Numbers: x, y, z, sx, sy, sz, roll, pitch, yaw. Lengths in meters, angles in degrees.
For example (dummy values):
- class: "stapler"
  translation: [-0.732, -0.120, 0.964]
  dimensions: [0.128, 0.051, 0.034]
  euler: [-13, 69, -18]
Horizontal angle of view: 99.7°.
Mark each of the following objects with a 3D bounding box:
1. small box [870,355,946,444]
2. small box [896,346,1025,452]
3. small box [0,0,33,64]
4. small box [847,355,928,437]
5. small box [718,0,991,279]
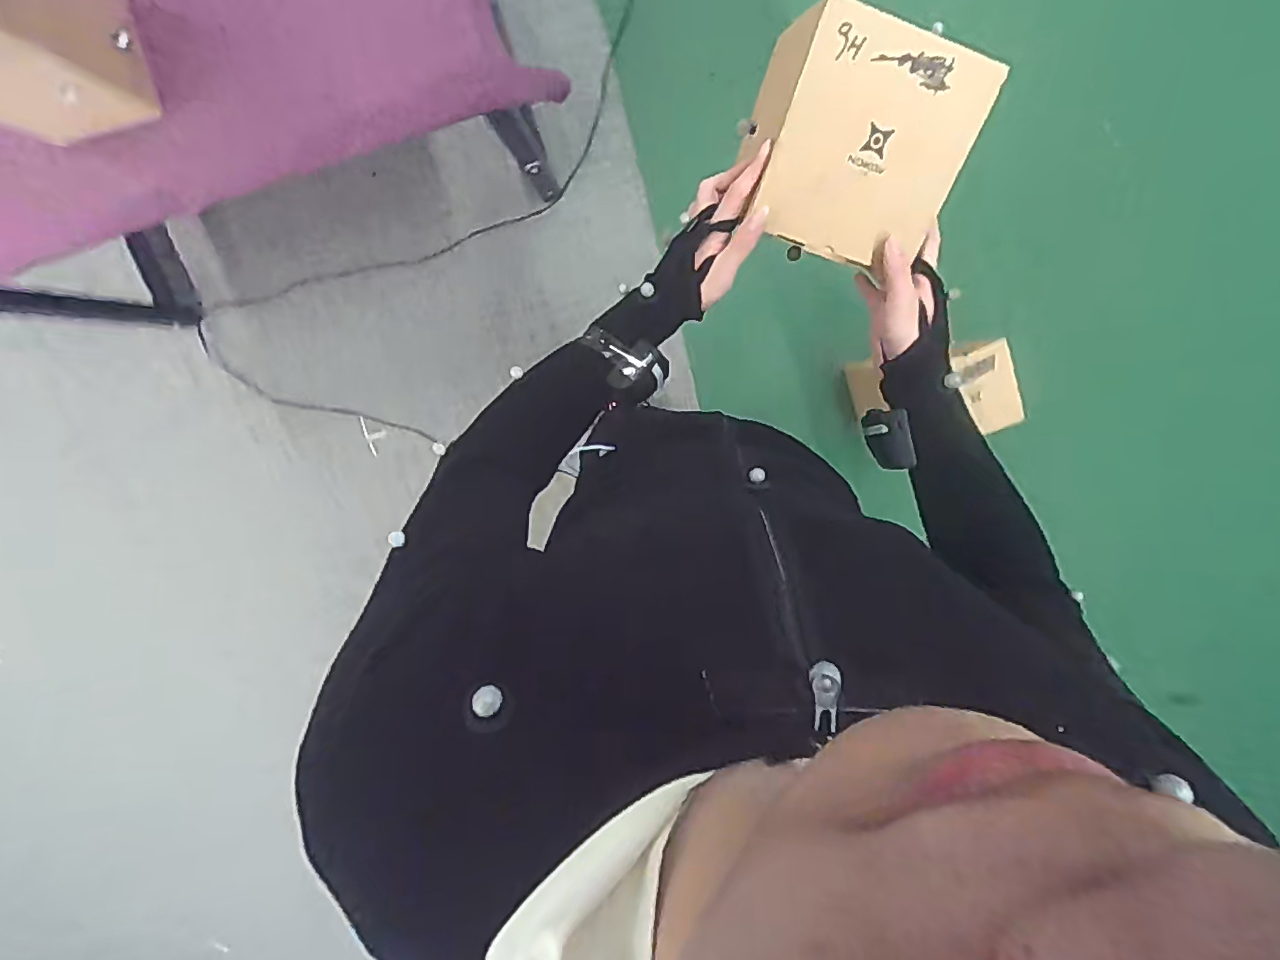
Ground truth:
- class: "small box"
  translation: [0.691, -0.203, 1.331]
  dimensions: [0.168, 0.176, 0.179]
  euler: [-17, 100, 5]
- class: "small box"
  translation: [0.682, -0.176, 1.169]
  dimensions: [0.168, 0.176, 0.179]
  euler: [-19, 101, 6]
- class: "small box"
  translation: [-0.811, -0.563, 0.563]
  dimensions: [0.179, 0.176, 0.168]
  euler: [-11, 100, 3]
- class: "small box"
  translation: [0.695, -0.236, 1.490]
  dimensions: [0.168, 0.176, 0.179]
  euler: [-19, 100, 5]
- class: "small box"
  translation: [0.185, -0.324, 0.536]
  dimensions: [0.168, 0.176, 0.179]
  euler: [14, 118, -9]
